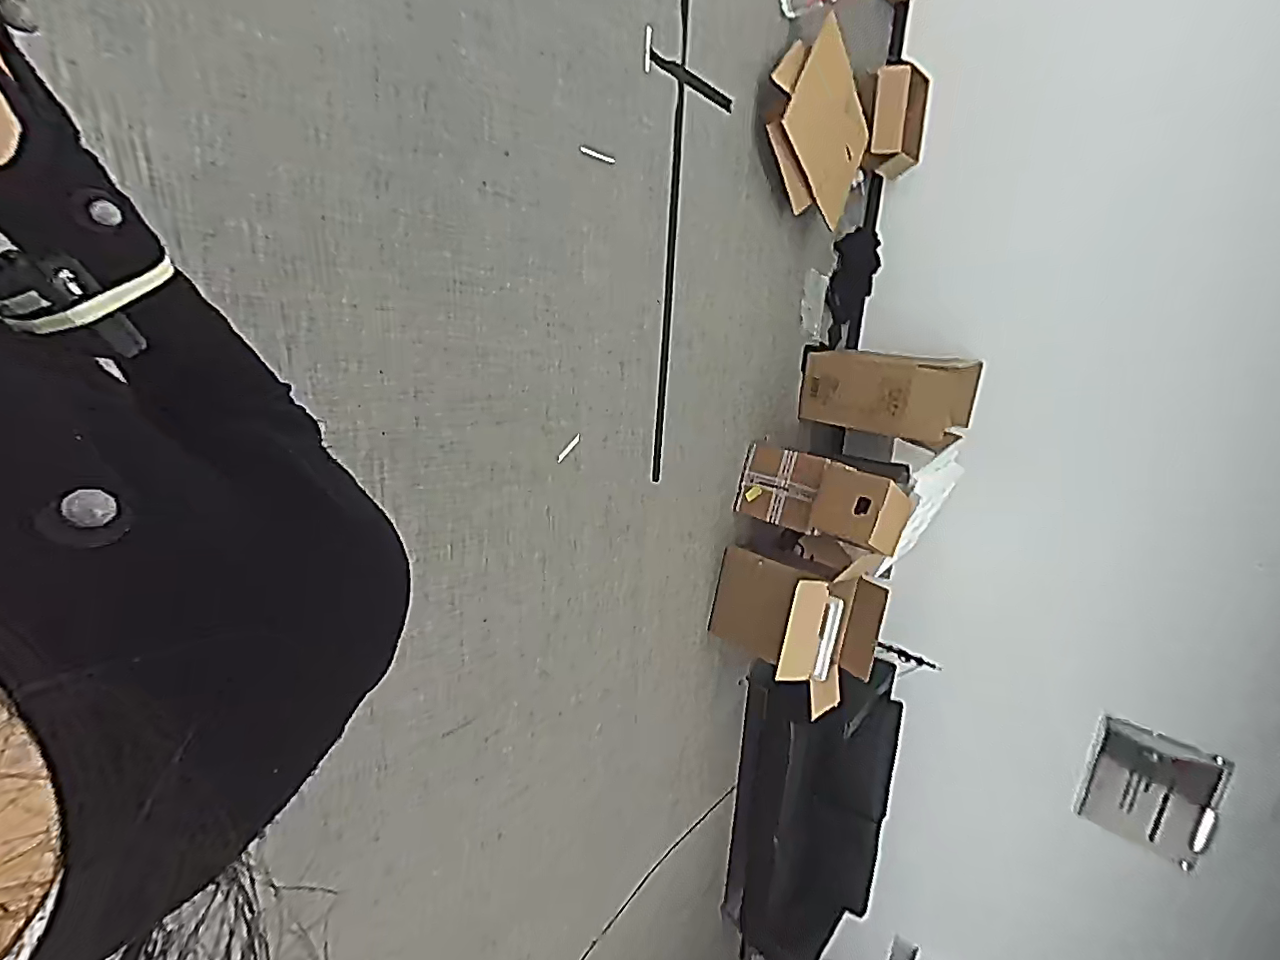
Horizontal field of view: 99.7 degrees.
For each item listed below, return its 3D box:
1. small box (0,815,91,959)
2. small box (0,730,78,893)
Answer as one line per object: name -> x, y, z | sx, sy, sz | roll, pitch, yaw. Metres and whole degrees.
small box -> -0.604, 0.446, 0.467 | 0.168, 0.176, 0.179 | -15, 112, -46
small box -> -0.726, 0.409, 0.572 | 0.168, 0.176, 0.179 | -13, 111, -46
